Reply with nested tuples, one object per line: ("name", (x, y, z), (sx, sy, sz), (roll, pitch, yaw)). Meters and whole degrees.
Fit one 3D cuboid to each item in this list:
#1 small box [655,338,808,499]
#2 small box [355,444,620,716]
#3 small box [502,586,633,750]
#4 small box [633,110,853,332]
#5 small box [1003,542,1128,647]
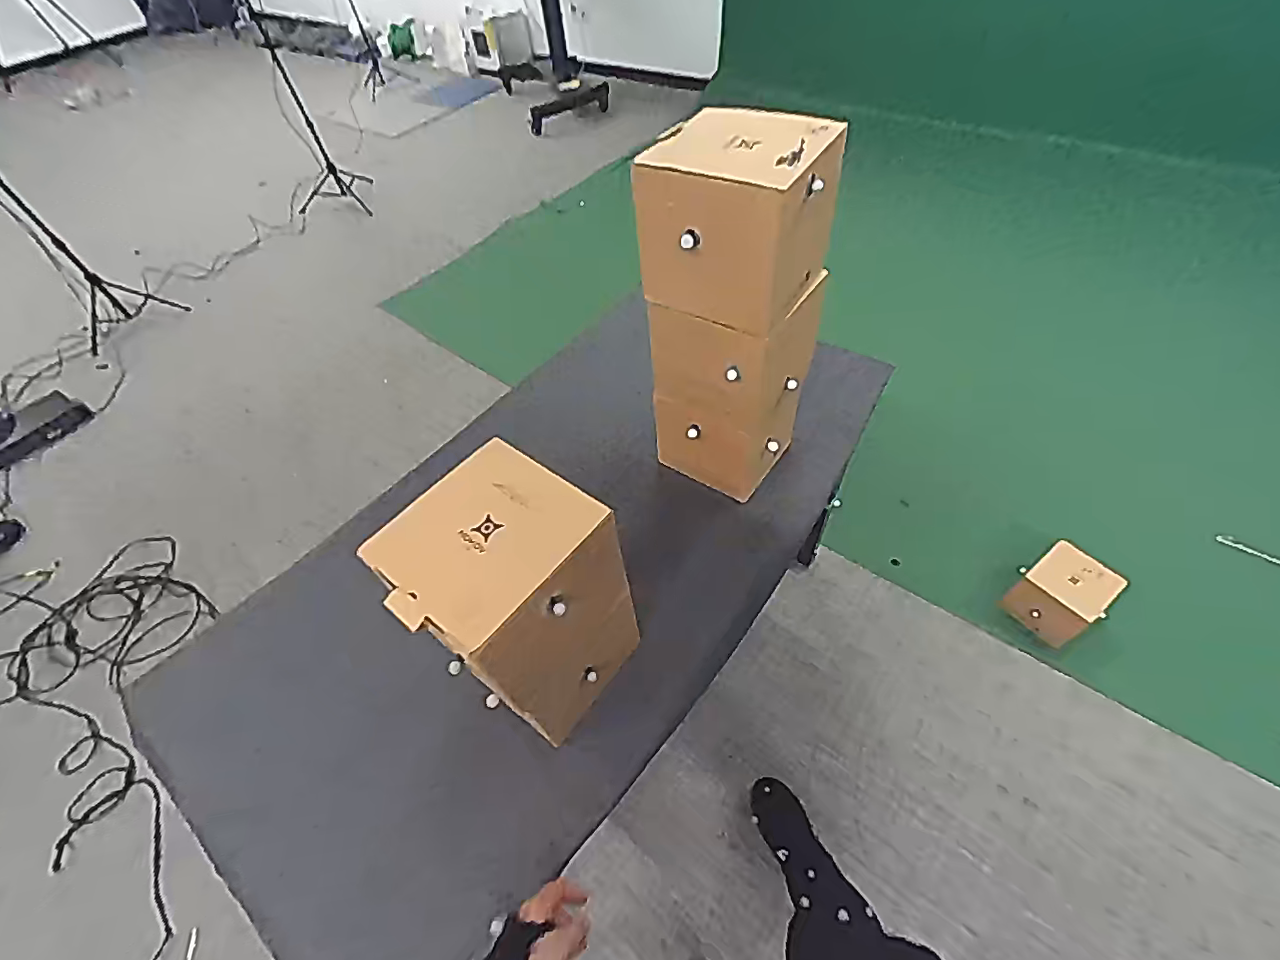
("small box", (0.146, -0.095, 0.879), (0.179, 0.176, 0.168), (28, 60, 26))
("small box", (-0.134, 0.104, 0.547), (0.168, 0.176, 0.179), (31, 60, 25))
("small box", (-0.121, 0.200, 0.677), (0.168, 0.176, 0.179), (29, 61, 26))
("small box", (0.115, -0.295, 0.620), (0.179, 0.176, 0.168), (25, 59, 24))
("small box", (1.090, 0.302, 1.404), (0.179, 0.176, 0.168), (-32, 57, -19))
